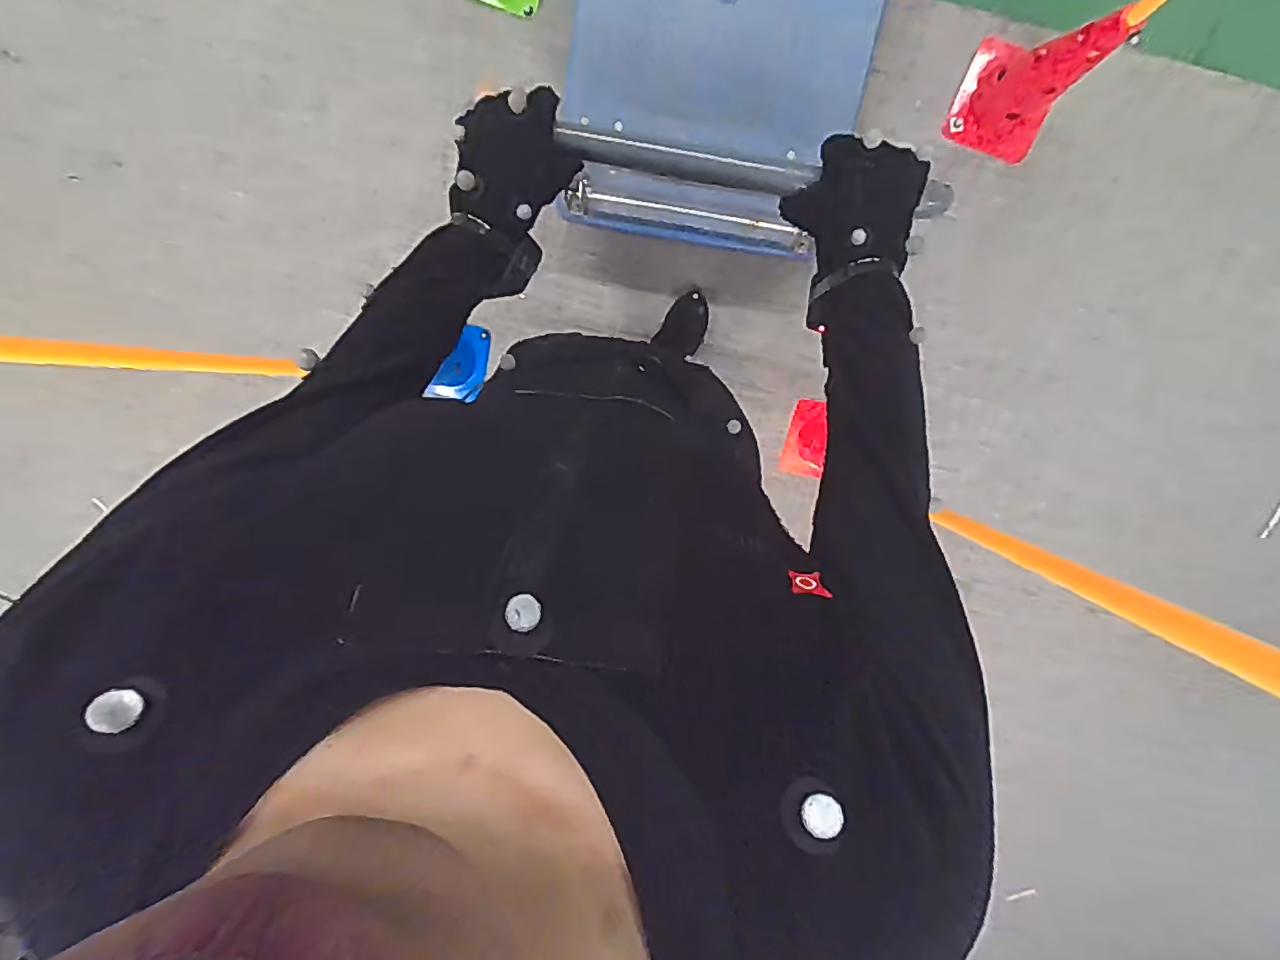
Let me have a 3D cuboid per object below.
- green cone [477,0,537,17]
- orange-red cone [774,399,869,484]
[{"bbox_3d":[-0.312,-1.091,0.999,0.202,0.368,0.200,19,106,-2],"label":"green cone"},{"bbox_3d":[0.460,-0.055,1.271,0.199,0.360,0.198,14,106,1],"label":"orange-red cone"}]
